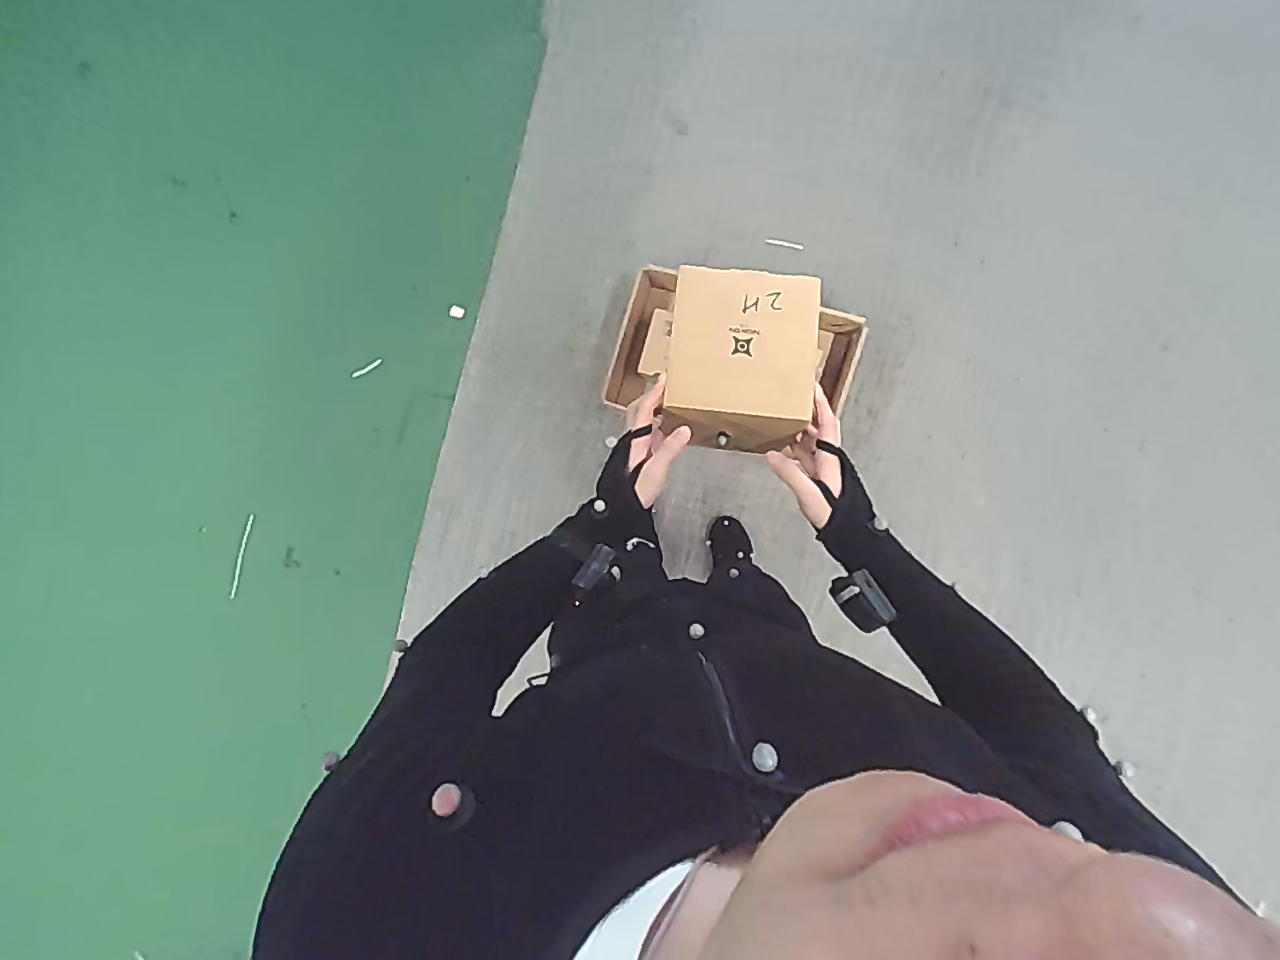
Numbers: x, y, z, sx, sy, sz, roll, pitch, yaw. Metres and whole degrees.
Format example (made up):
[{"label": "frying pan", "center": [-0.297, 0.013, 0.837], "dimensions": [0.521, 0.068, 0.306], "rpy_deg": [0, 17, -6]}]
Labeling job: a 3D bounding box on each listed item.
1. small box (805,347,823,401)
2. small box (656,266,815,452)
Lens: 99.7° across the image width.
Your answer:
[{"label": "small box", "center": [0.373, -0.268, 1.448], "dimensions": [0.168, 0.176, 0.179], "rpy_deg": [19, 94, 10]}, {"label": "small box", "center": [0.112, -0.141, 0.687], "dimensions": [0.168, 0.176, 0.179], "rpy_deg": [7, 79, 3]}]
